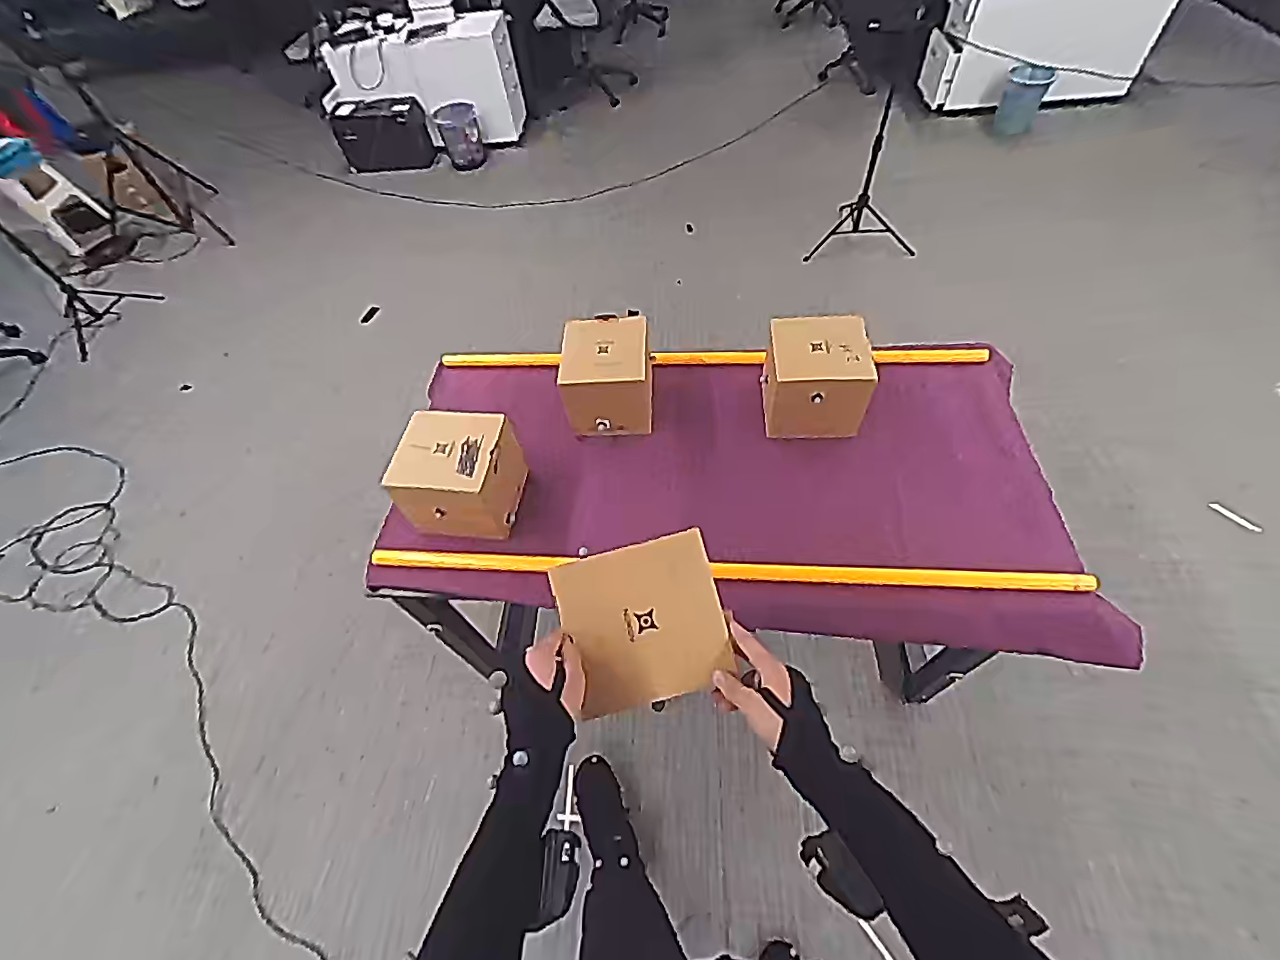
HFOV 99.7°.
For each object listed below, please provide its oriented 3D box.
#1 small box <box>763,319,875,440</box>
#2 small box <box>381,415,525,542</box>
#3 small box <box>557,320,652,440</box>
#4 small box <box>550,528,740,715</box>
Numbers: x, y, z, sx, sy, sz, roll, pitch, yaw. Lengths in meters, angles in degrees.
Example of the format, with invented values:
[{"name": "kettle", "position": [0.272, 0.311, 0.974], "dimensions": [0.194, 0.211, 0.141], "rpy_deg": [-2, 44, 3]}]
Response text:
[{"name": "small box", "position": [0.334, -0.190, 1.051], "dimensions": [0.179, 0.176, 0.168], "rpy_deg": [0, 57, 6]}, {"name": "small box", "position": [-0.324, 0.002, 0.982], "dimensions": [0.179, 0.176, 0.168], "rpy_deg": [4, 56, 8]}, {"name": "small box", "position": [-0.064, -0.200, 1.100], "dimensions": [0.168, 0.176, 0.179], "rpy_deg": [-2, 56, 5]}, {"name": "small box", "position": [0.008, 0.162, 0.659], "dimensions": [0.179, 0.176, 0.168], "rpy_deg": [-16, 79, 2]}]
